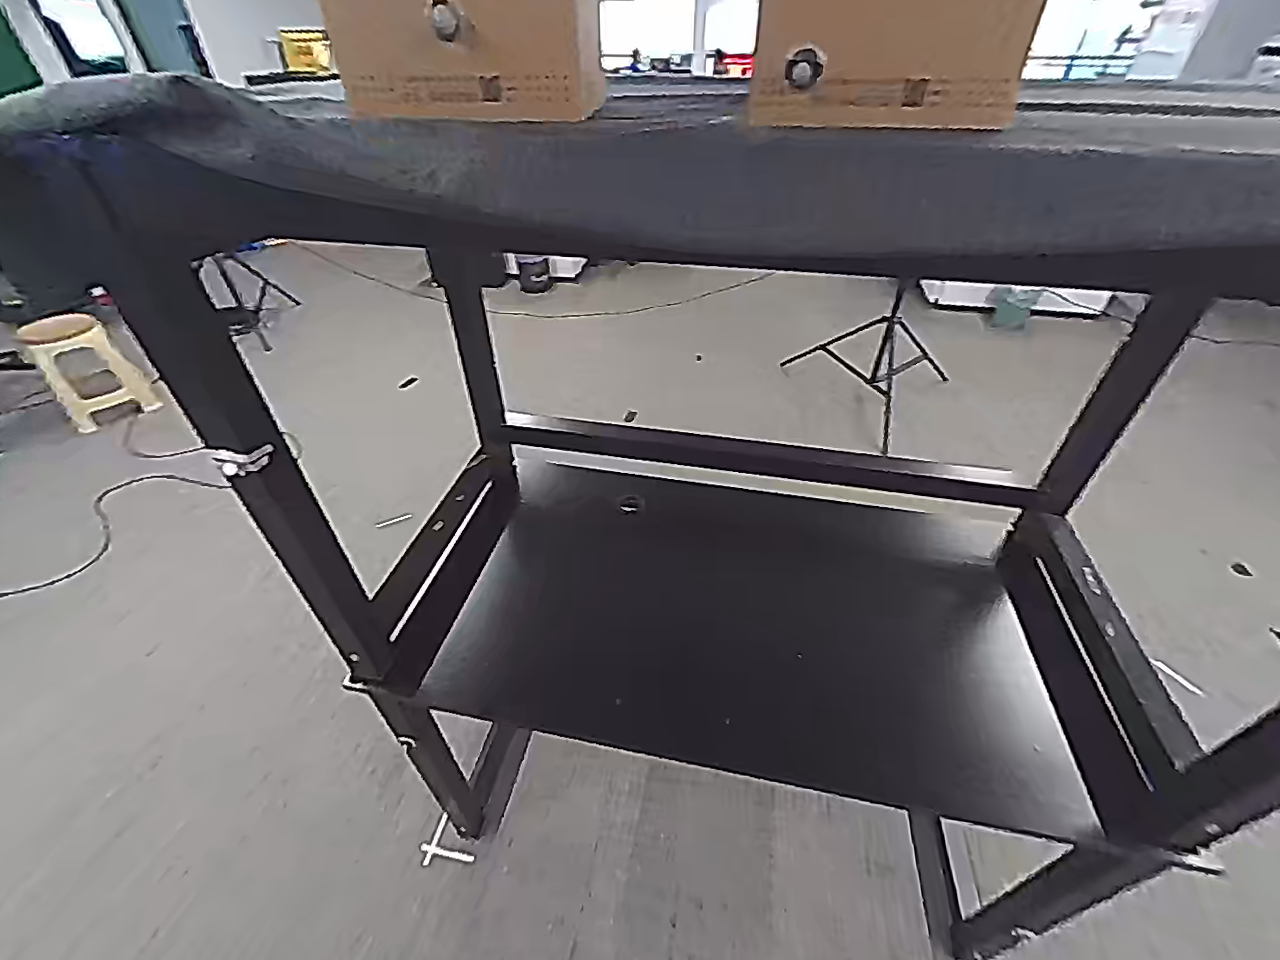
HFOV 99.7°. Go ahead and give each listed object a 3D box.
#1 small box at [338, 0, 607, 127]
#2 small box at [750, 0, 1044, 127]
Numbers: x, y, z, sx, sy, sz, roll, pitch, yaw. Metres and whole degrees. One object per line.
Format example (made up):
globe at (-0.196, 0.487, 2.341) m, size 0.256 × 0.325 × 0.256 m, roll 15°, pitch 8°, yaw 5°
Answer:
small box at (-0.115, -0.370, 0.397) m, size 0.168 × 0.176 × 0.179 m, roll 1°, pitch 38°, yaw 3°
small box at (0.170, -0.348, 0.369) m, size 0.168 × 0.176 × 0.179 m, roll 7°, pitch 38°, yaw 9°
